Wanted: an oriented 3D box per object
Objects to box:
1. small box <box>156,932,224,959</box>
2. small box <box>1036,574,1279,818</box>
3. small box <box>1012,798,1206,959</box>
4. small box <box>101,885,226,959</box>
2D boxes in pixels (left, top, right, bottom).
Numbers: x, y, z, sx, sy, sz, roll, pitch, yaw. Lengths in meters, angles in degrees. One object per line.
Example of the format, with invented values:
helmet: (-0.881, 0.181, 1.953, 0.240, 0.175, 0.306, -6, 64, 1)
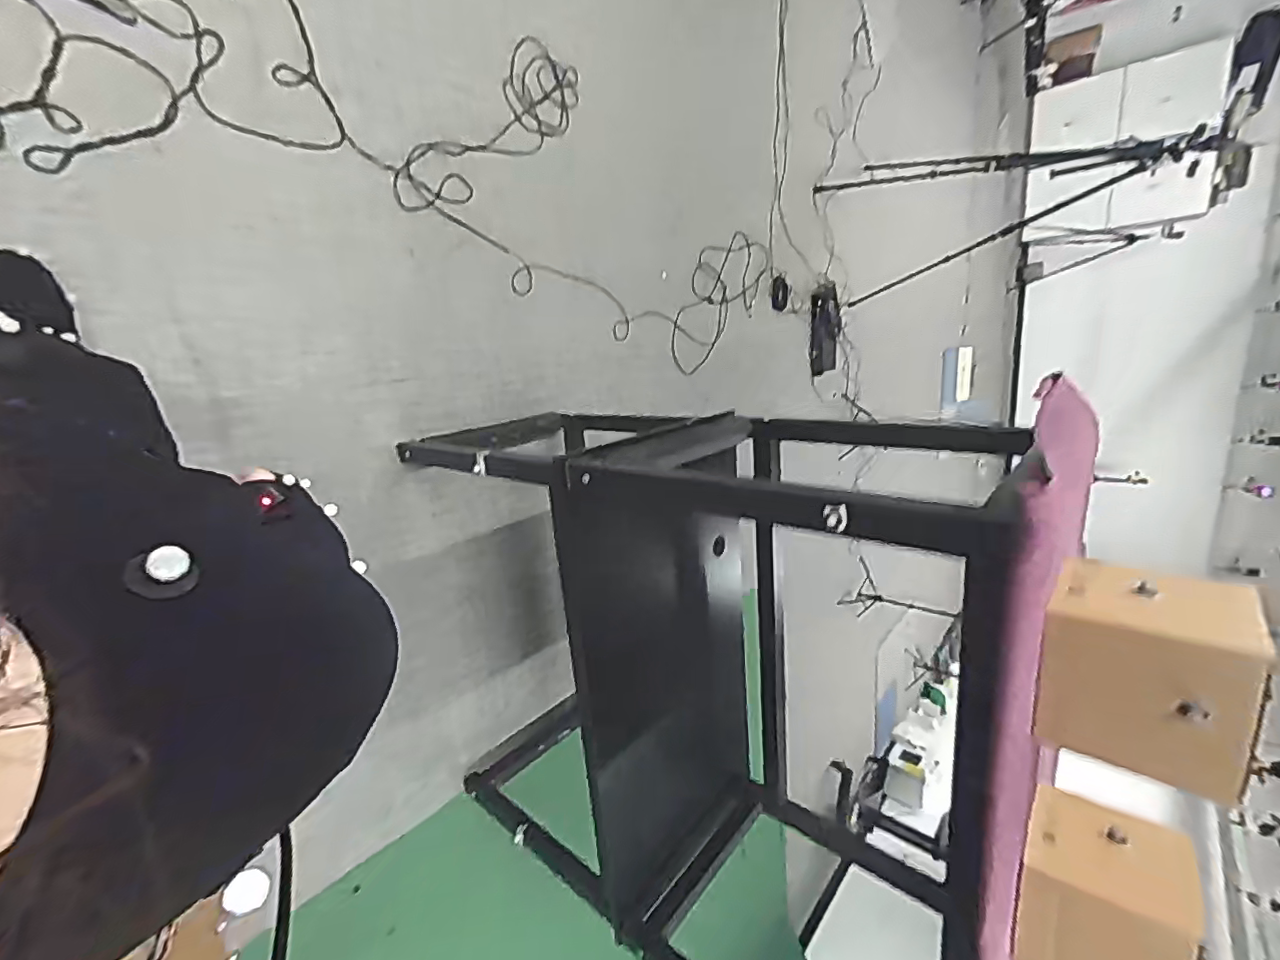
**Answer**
small box: (-0.906, 1.049, 1.060, 0.168, 0.176, 0.179, -16, 108, -44)
small box: (0.565, 0.218, 0.609, 0.168, 0.176, 0.179, -20, 111, -43)
small box: (0.607, 0.562, 0.717, 0.168, 0.176, 0.179, -21, 111, -46)
small box: (-1.025, 1.040, 1.169, 0.179, 0.176, 0.168, -14, 106, -45)
